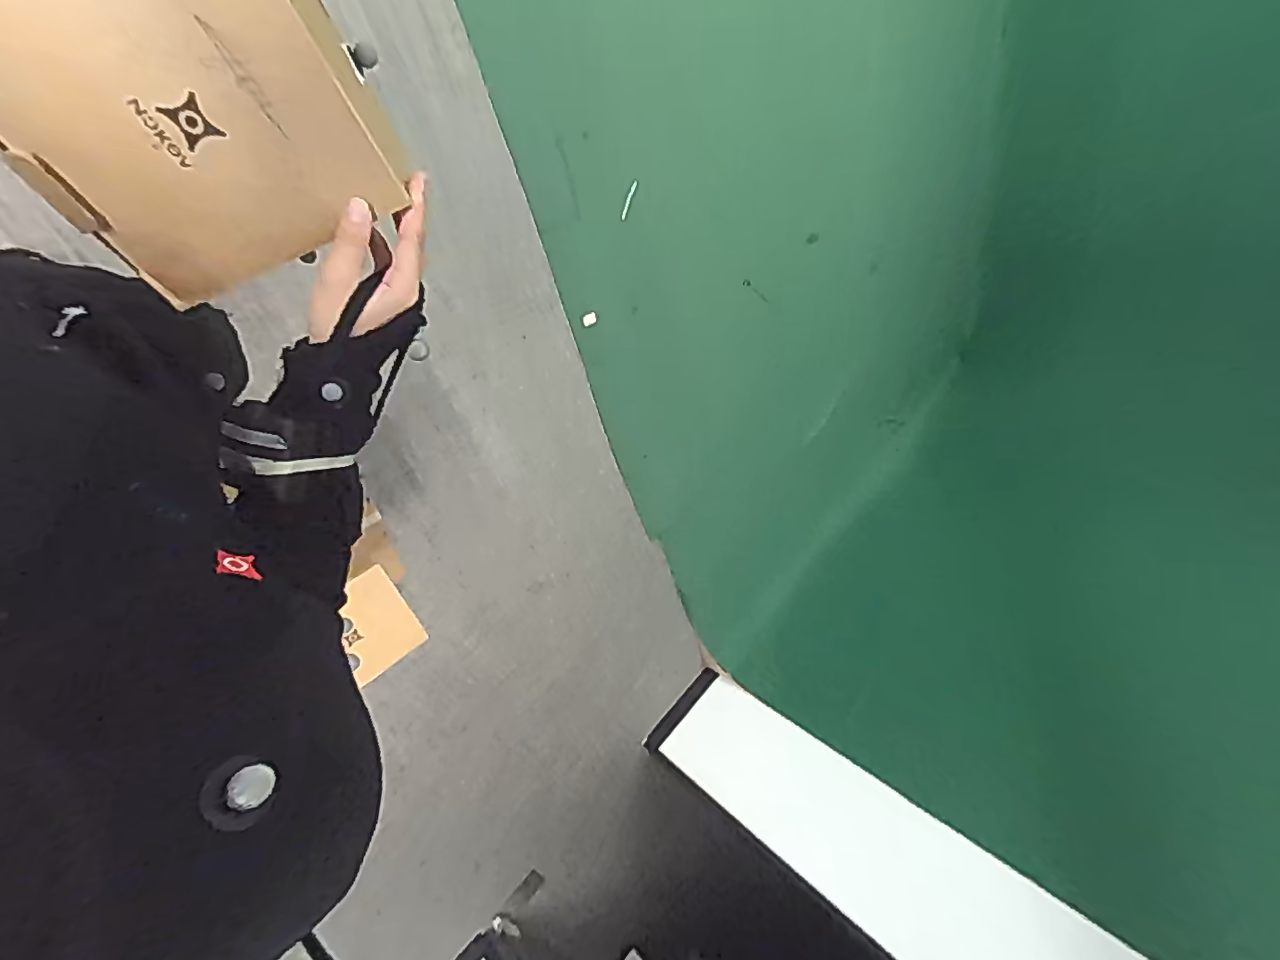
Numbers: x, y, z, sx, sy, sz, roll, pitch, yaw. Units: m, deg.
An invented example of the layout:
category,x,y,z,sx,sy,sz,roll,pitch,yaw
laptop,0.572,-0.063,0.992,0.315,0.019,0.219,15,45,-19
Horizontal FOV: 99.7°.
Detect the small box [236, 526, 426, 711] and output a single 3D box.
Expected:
category,x,y,z,sx,sy,sz,roll,pitch,yaw
small box,-0.465,0.196,0.817,0.179,0.176,0.168,-36,129,-28
